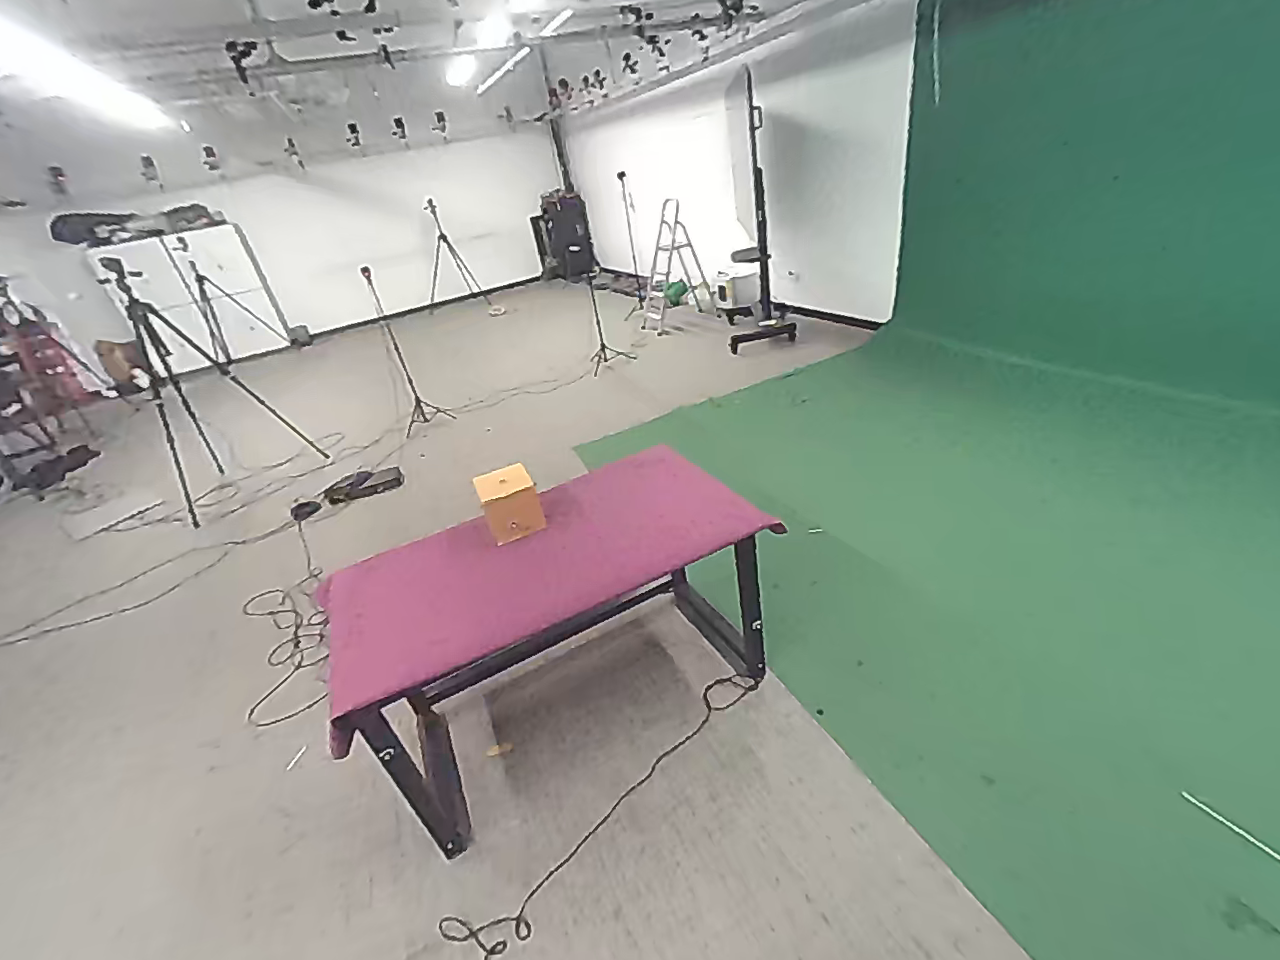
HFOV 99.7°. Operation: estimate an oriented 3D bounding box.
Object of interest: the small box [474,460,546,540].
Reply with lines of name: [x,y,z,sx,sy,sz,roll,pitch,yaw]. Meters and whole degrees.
small box: [-0.415,0.063,1.728,0.168,0.176,0.179,-20,34,-17]
